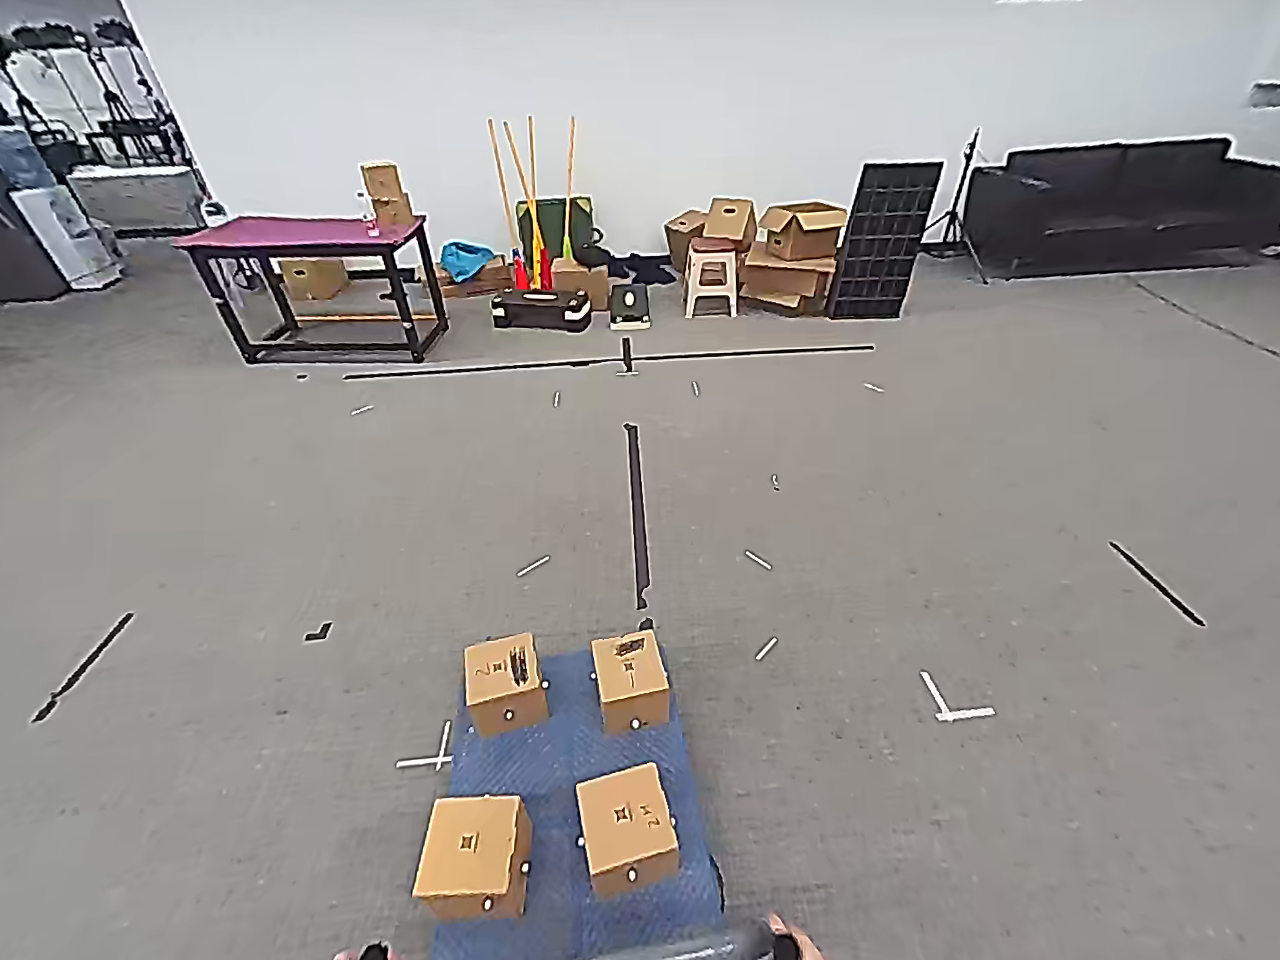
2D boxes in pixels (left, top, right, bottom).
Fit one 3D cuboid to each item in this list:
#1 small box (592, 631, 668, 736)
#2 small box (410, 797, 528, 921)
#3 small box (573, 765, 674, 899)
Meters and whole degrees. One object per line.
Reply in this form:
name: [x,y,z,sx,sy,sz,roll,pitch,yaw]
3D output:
small box: [-0.029,0.520,1.384,0.168,0.176,0.179,-9,40,-9]
small box: [-0.332,0.765,1.090,0.179,0.176,0.168,-1,38,-2]
small box: [-0.032,0.730,1.120,0.179,0.176,0.168,-10,40,-10]
